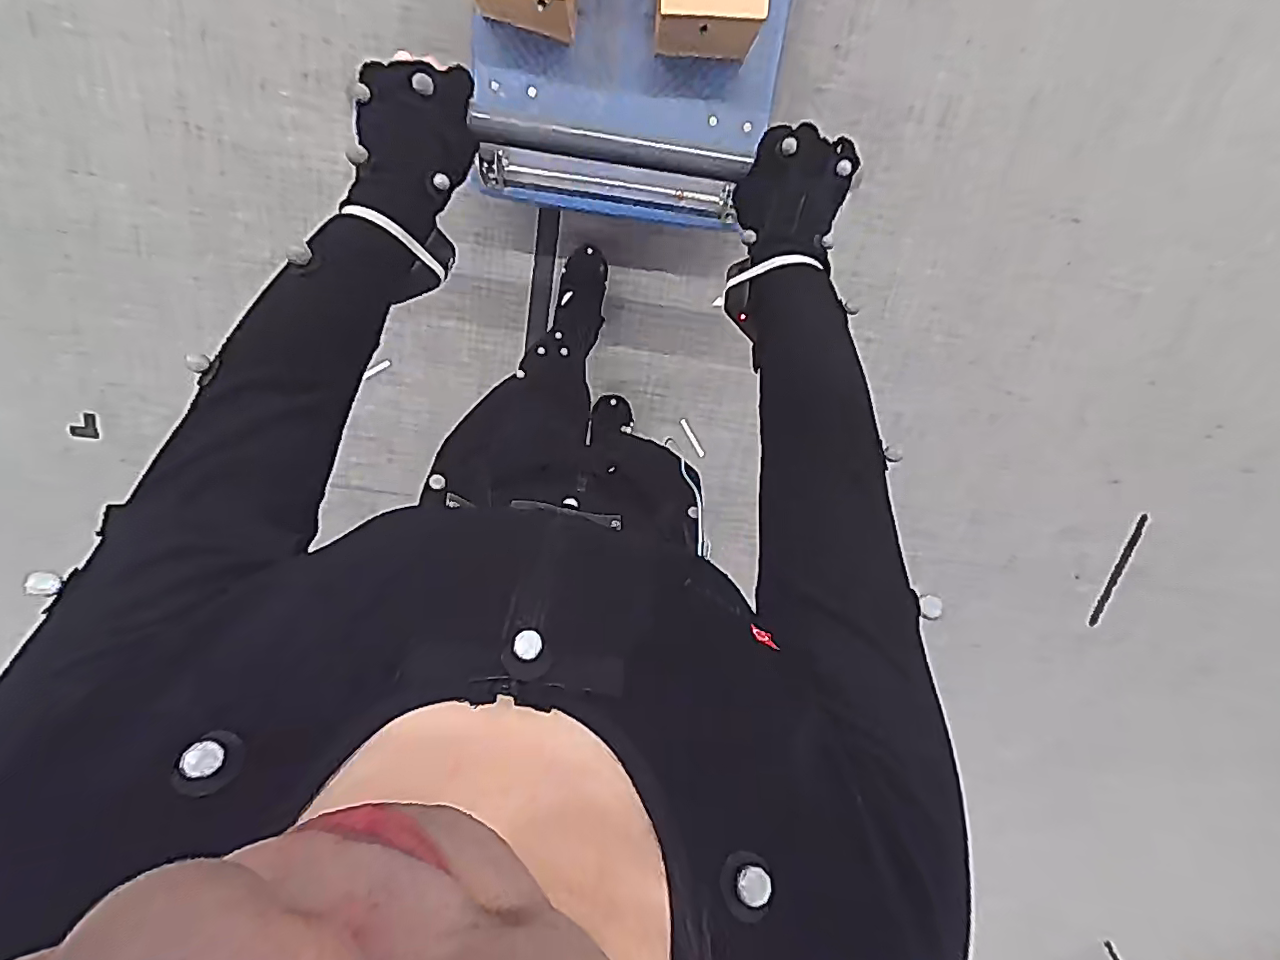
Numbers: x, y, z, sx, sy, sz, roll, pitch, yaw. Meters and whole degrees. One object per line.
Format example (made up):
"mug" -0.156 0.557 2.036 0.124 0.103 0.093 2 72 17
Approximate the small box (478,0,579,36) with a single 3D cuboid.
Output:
"small box" -0.187 -0.879 0.892 0.179 0.176 0.168 11 110 -8

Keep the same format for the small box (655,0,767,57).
"small box" 0.118 -0.848 0.915 0.179 0.176 0.168 1 111 -2
